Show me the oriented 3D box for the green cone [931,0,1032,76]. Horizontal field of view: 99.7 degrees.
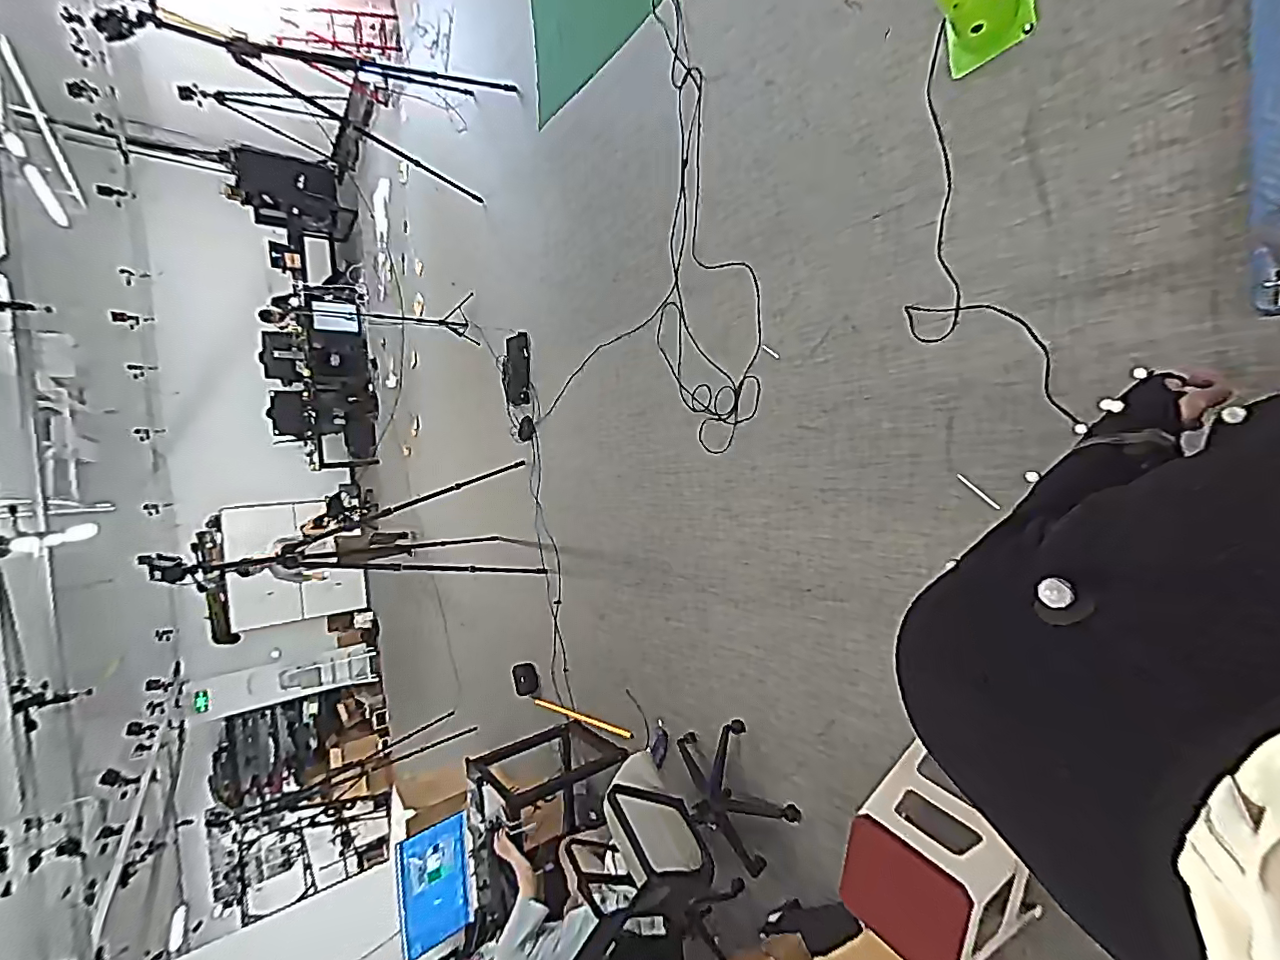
[{"bbox_3d":[0.773,-1.206,1.327,0.202,0.368,0.200,-7,88,55],"label":"green cone"}]
